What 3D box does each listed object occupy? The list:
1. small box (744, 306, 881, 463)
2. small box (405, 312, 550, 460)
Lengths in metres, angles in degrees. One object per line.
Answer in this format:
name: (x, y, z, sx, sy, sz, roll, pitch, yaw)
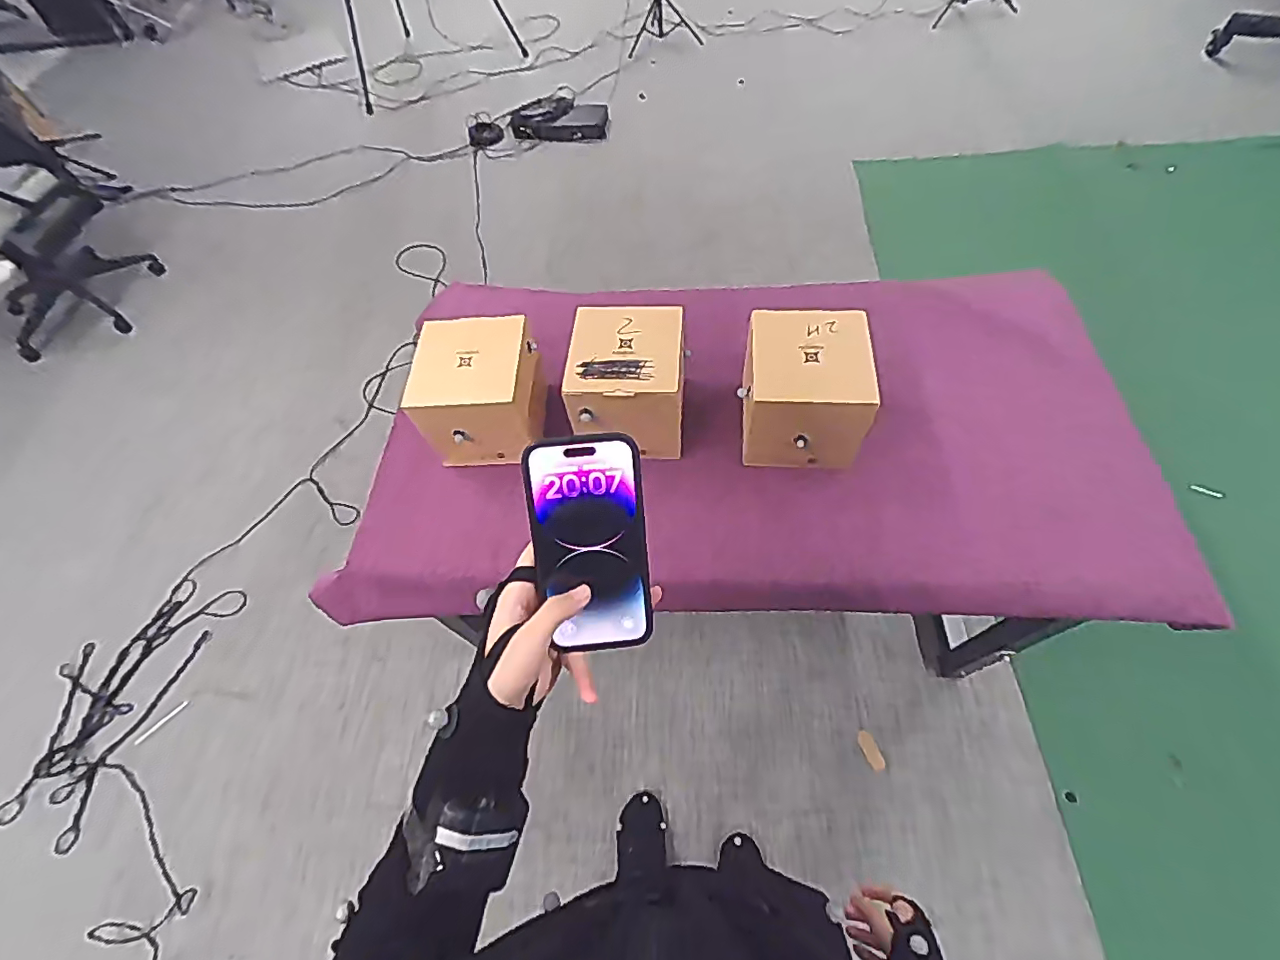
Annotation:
small box: (0.250, -0.141, 0.821, 0.168, 0.176, 0.179, 3, 60, 7)
small box: (-0.248, -0.142, 0.873, 0.168, 0.176, 0.179, -3, 58, 4)
